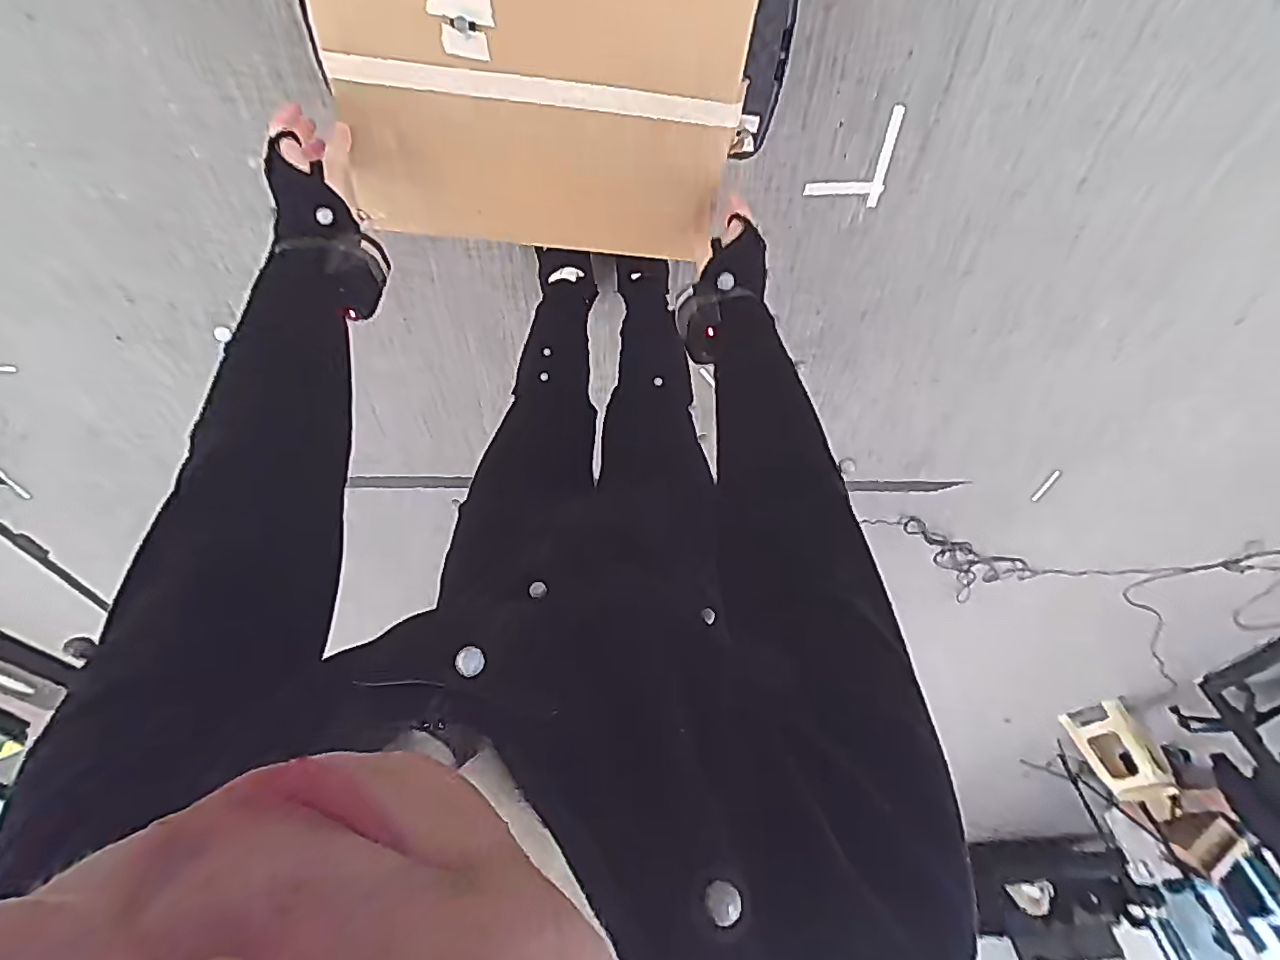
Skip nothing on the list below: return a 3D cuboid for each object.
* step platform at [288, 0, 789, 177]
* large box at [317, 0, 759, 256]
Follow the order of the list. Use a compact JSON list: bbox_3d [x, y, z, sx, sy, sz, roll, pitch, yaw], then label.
[{"bbox_3d":[-0.134,-0.666,0.799,0.684,0.204,0.286,5,136,-7],"label":"step platform"},{"bbox_3d":[-0.098,-0.495,0.633,0.408,0.320,0.320,4,135,-6],"label":"large box"}]
